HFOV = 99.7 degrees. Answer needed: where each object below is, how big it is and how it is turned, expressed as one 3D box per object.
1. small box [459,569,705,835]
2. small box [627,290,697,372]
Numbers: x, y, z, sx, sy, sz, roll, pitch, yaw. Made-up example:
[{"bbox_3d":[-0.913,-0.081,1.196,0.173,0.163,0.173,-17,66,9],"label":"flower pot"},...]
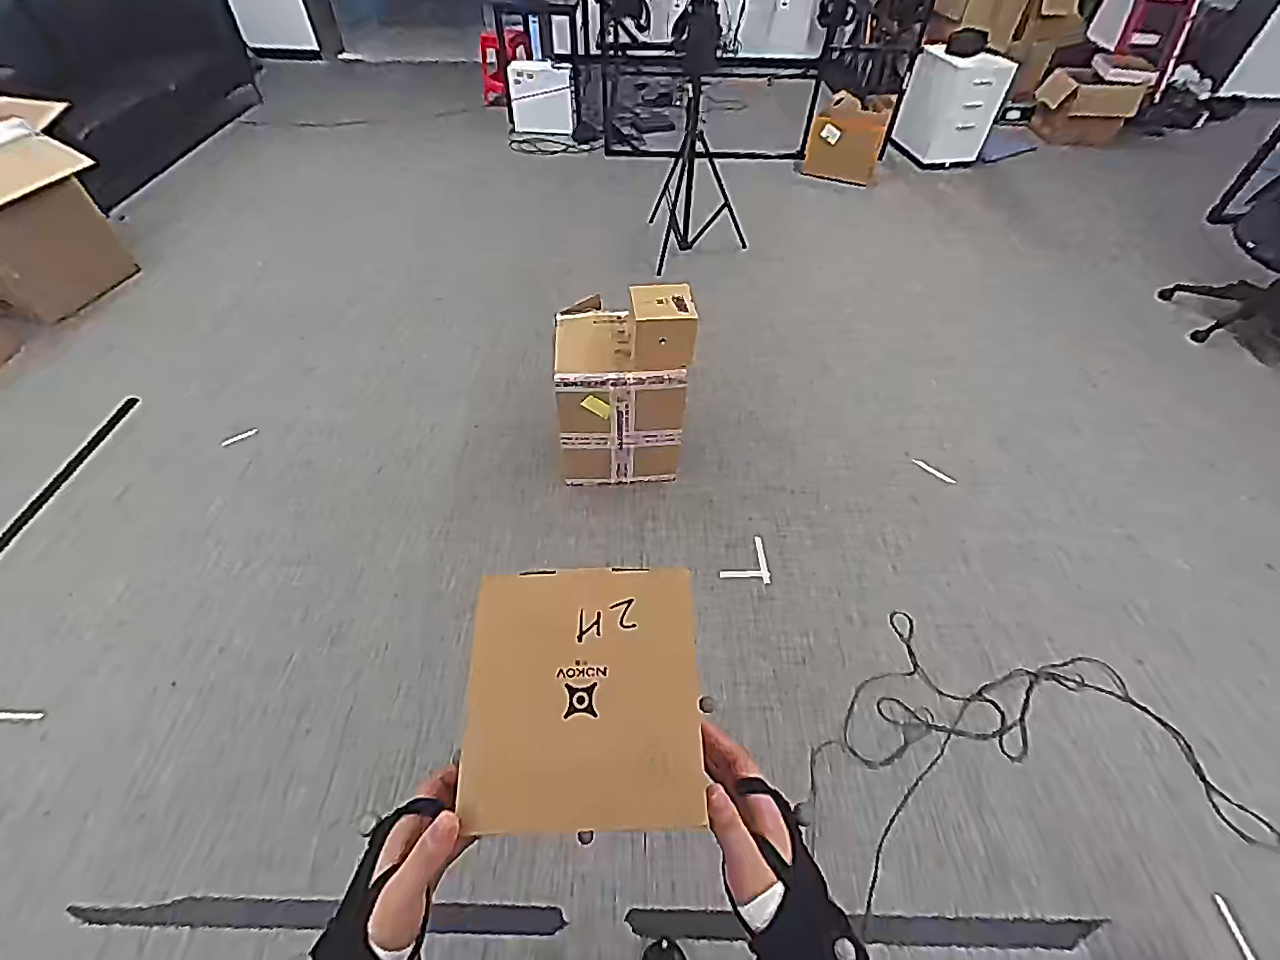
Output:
[{"bbox_3d":[-0.038,0.186,0.459,0.168,0.176,0.179,-2,62,-1],"label":"small box"},{"bbox_3d":[0.058,-0.435,1.585,0.179,0.176,0.168,-4,53,-6],"label":"small box"}]
